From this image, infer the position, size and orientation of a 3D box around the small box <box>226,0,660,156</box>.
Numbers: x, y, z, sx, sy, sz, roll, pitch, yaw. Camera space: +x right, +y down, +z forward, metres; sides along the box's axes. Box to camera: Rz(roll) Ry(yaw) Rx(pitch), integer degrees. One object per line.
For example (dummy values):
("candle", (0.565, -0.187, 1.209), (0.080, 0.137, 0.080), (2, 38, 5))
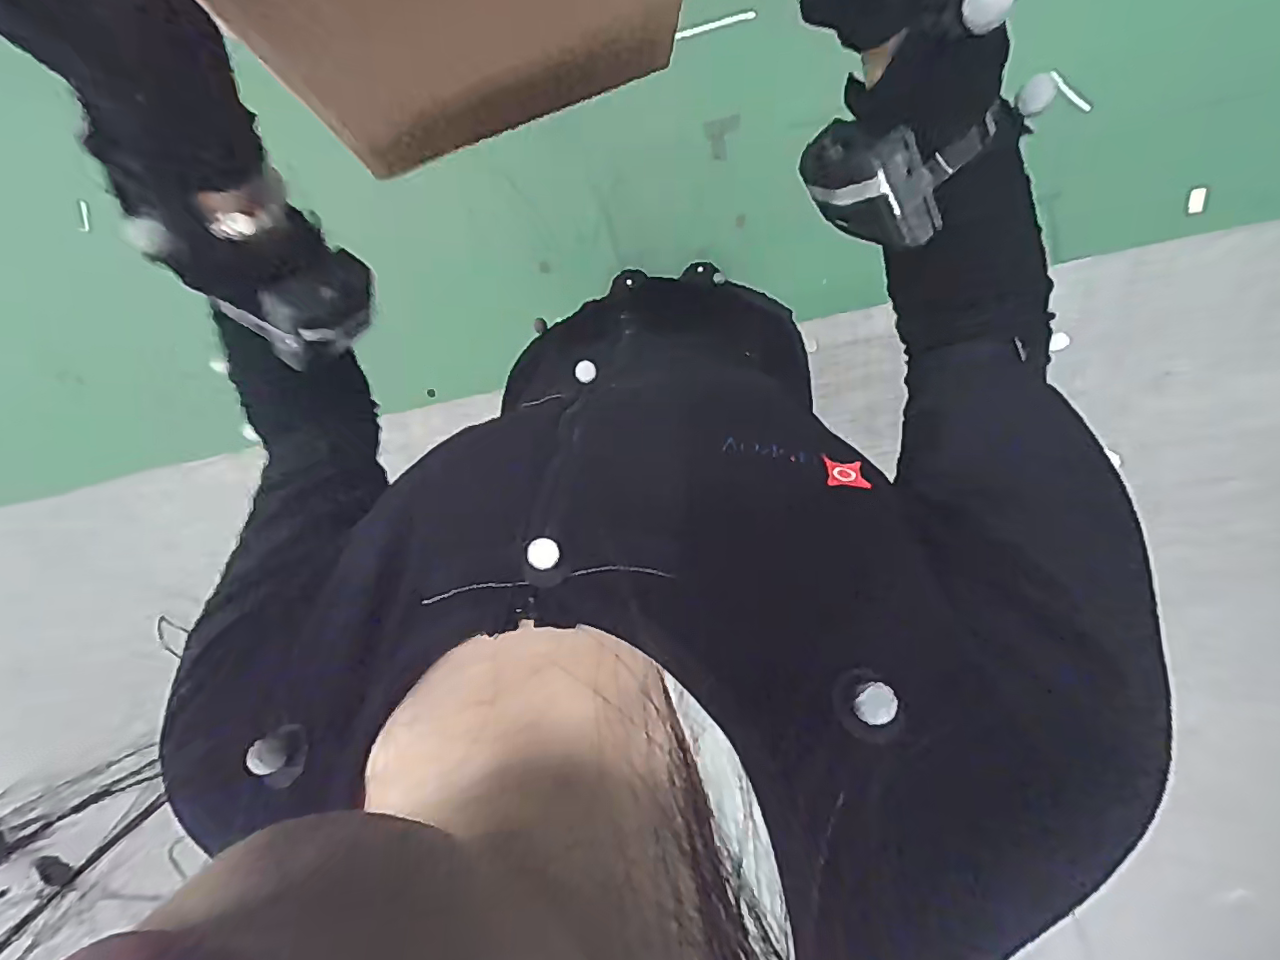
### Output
("small box", (-0.089, -0.259, 0.203), (0.179, 0.176, 0.168), (-21, 102, -1))

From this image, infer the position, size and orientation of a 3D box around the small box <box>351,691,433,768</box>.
("small box", (-0.856, 0.868, 1.894), (0.179, 0.176, 0.168), (-17, 109, 13))
